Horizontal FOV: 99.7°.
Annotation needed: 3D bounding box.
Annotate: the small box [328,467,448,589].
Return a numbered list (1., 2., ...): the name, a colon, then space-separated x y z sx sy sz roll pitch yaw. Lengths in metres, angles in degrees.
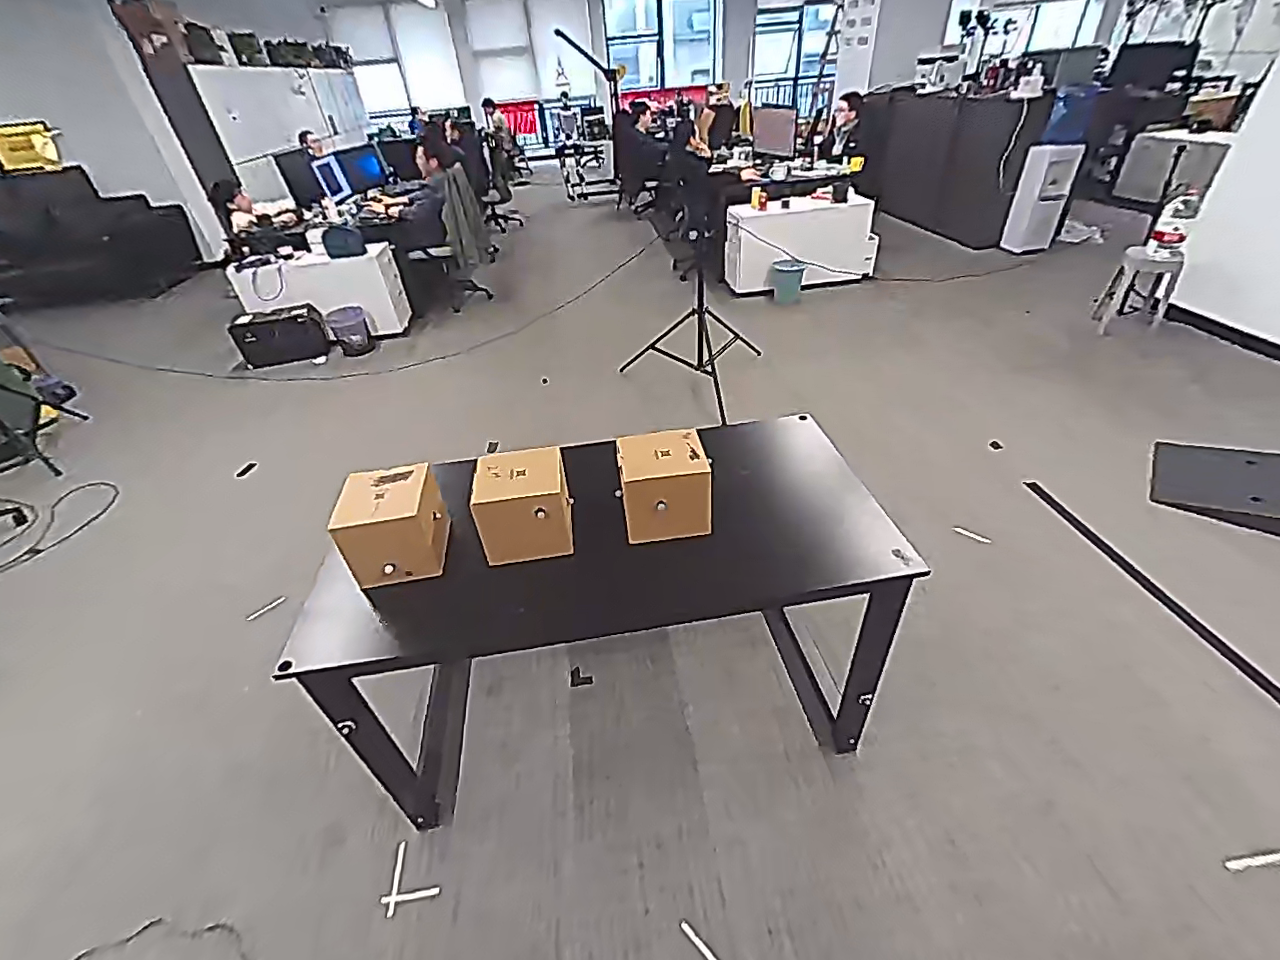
1. small box: -0.508 0.099 1.121 0.168 0.176 0.179 -9 38 -5

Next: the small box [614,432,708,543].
1. small box: 0.045 0.019 1.164 0.179 0.176 0.168 -8 37 -2

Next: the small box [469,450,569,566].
1. small box: -0.245 0.060 1.141 0.179 0.176 0.168 -8 37 -4
